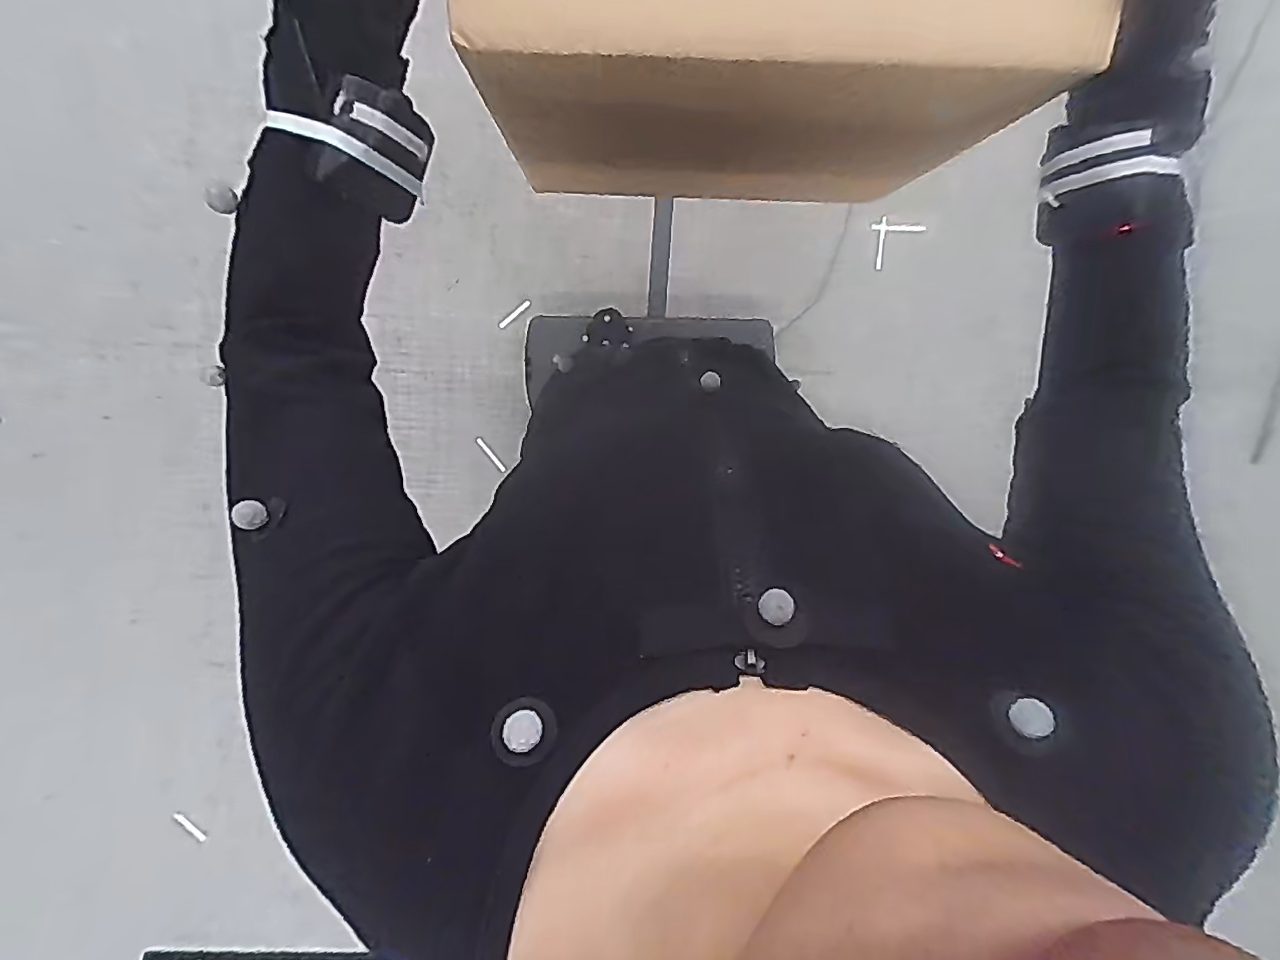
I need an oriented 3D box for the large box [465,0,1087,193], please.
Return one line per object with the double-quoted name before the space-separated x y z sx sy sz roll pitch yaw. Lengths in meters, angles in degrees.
"large box" 0.080 -0.453 0.456 0.408 0.320 0.320 0 104 -3
